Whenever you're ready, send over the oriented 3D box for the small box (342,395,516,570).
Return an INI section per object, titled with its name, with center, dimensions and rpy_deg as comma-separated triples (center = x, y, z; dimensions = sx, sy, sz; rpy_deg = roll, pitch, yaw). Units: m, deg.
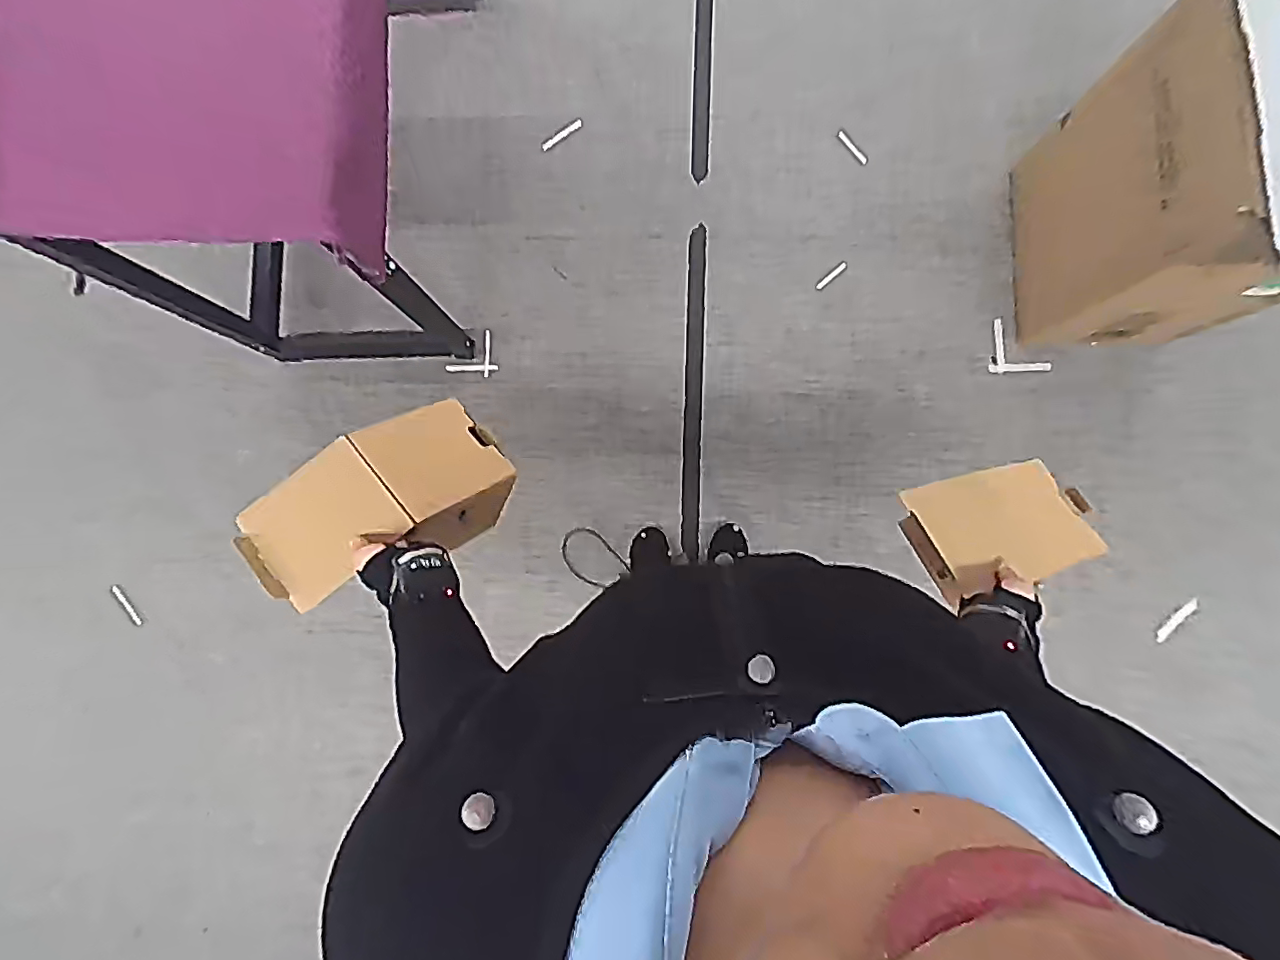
[small box]
center = -0.320, 0.007, 0.815
dimensions = 0.168, 0.176, 0.179
rpy_deg = 48, 47, 10
